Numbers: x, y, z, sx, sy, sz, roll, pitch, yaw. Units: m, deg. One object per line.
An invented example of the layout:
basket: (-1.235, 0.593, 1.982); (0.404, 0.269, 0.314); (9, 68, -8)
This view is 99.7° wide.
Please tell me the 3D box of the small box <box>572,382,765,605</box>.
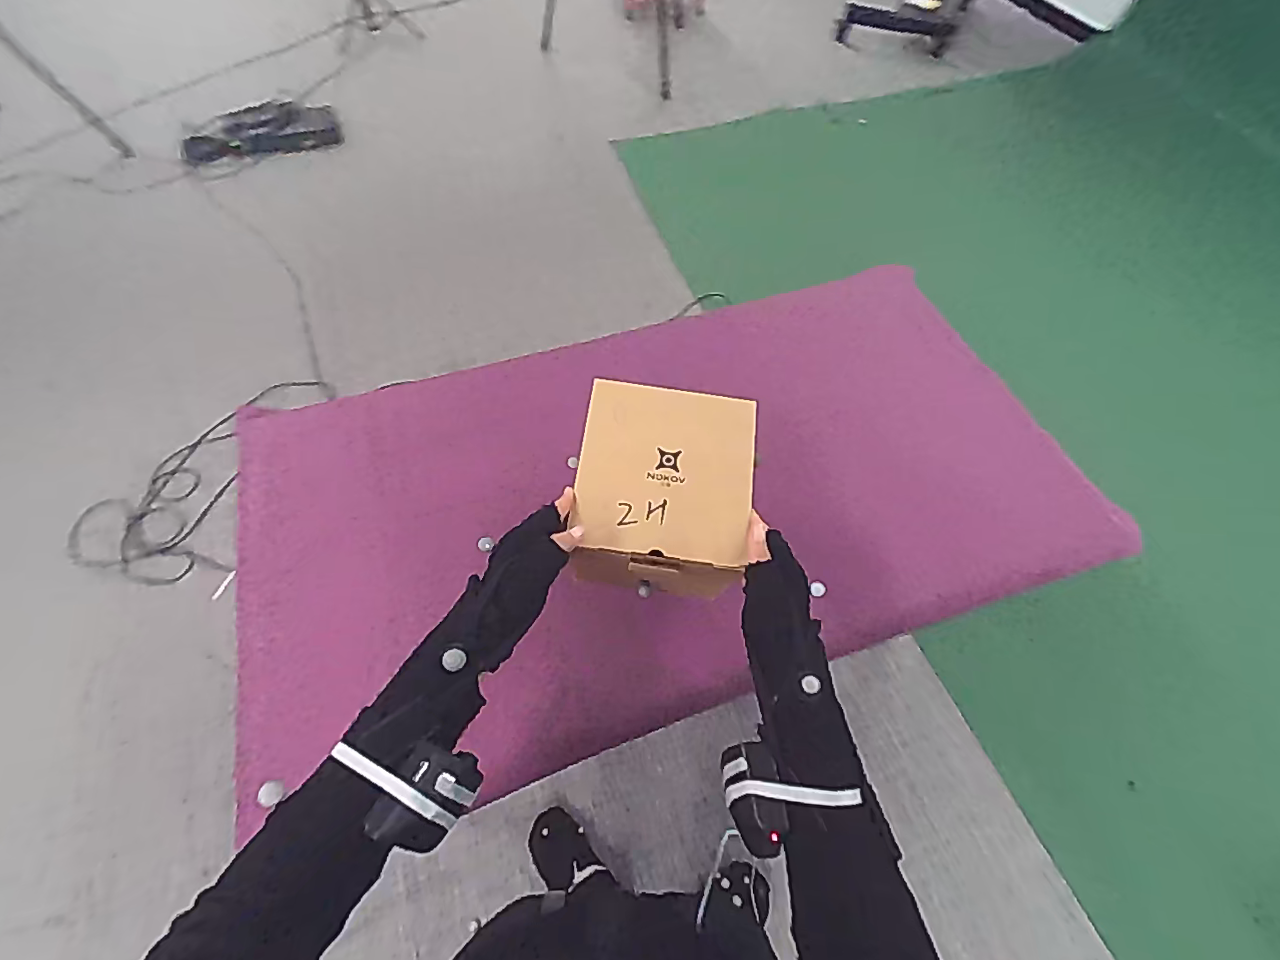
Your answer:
small box: (0.028, 0.023, 0.580); (0.168, 0.176, 0.179); (9, 68, 1)
